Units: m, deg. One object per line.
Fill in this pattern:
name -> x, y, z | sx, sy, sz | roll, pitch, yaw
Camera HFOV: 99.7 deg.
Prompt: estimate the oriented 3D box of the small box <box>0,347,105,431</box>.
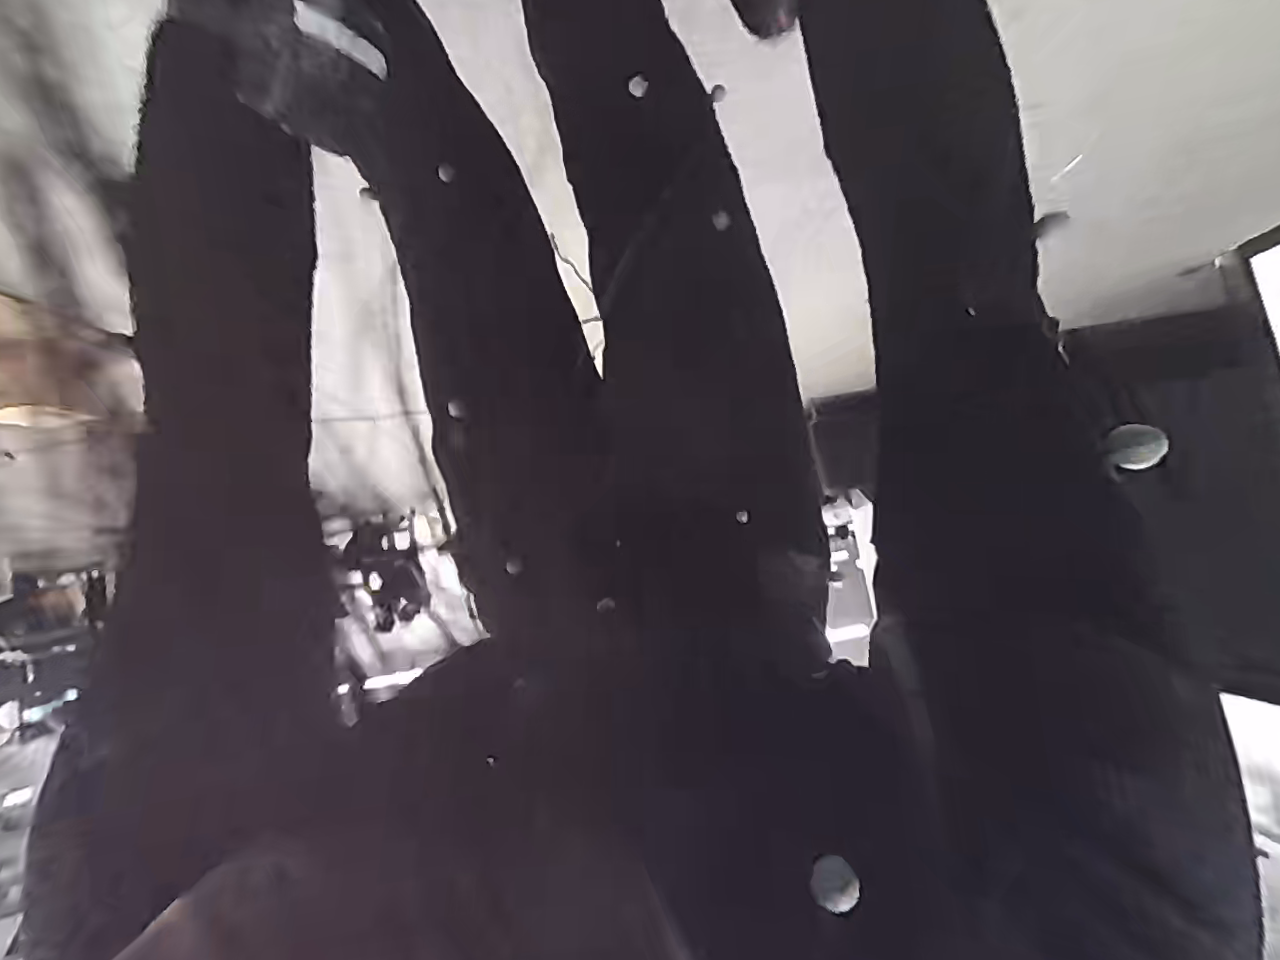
small box -> -1.594, -0.240, 1.438 | 0.179, 0.176, 0.168 | -11, 174, 4
